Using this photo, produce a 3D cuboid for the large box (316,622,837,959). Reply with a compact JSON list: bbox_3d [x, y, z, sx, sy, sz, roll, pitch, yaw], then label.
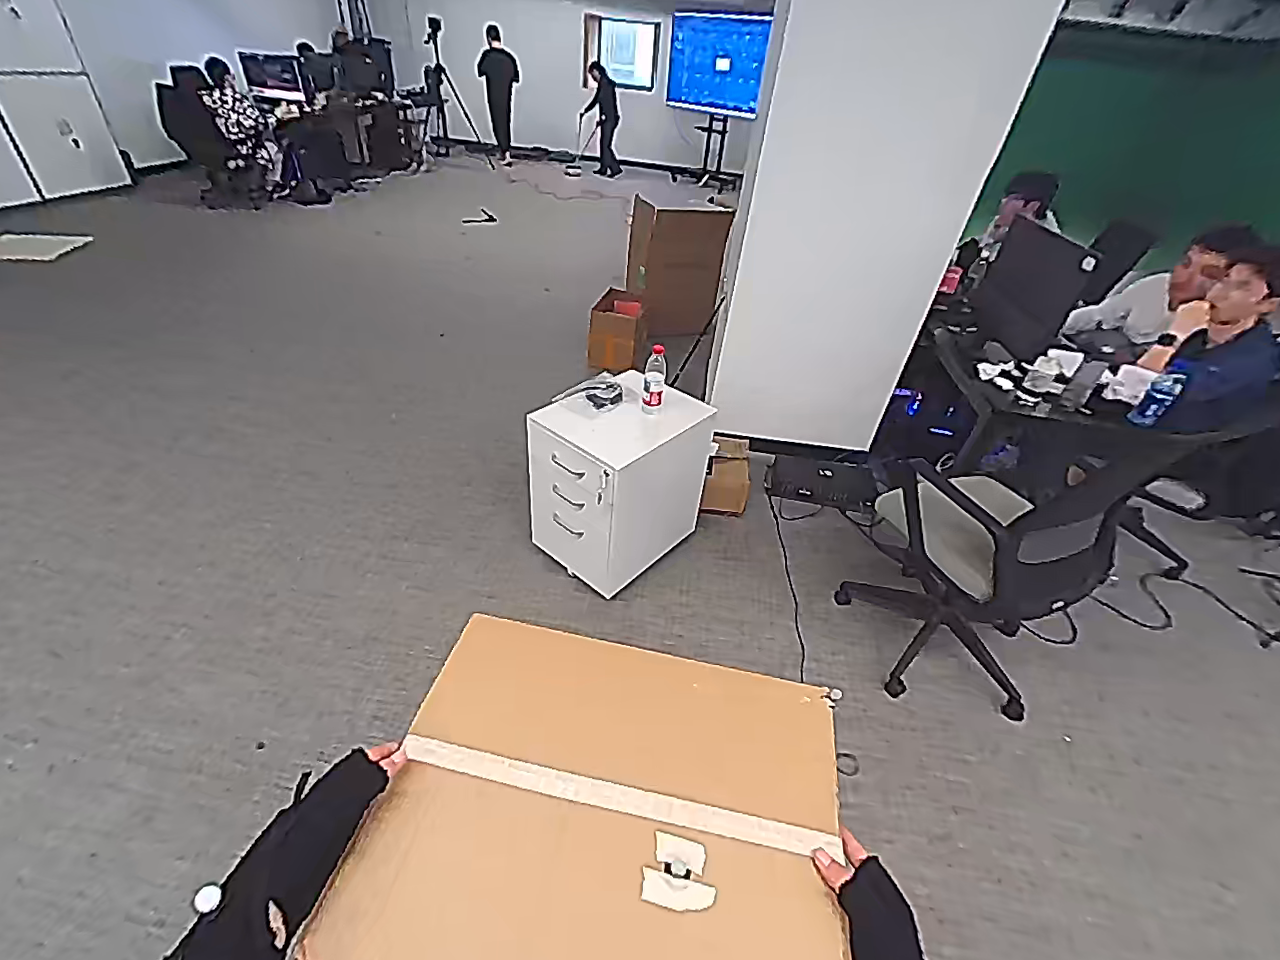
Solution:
[{"bbox_3d":[-0.036,0.407,0.593,0.408,0.320,0.320,11,40,7],"label":"large box"}]
